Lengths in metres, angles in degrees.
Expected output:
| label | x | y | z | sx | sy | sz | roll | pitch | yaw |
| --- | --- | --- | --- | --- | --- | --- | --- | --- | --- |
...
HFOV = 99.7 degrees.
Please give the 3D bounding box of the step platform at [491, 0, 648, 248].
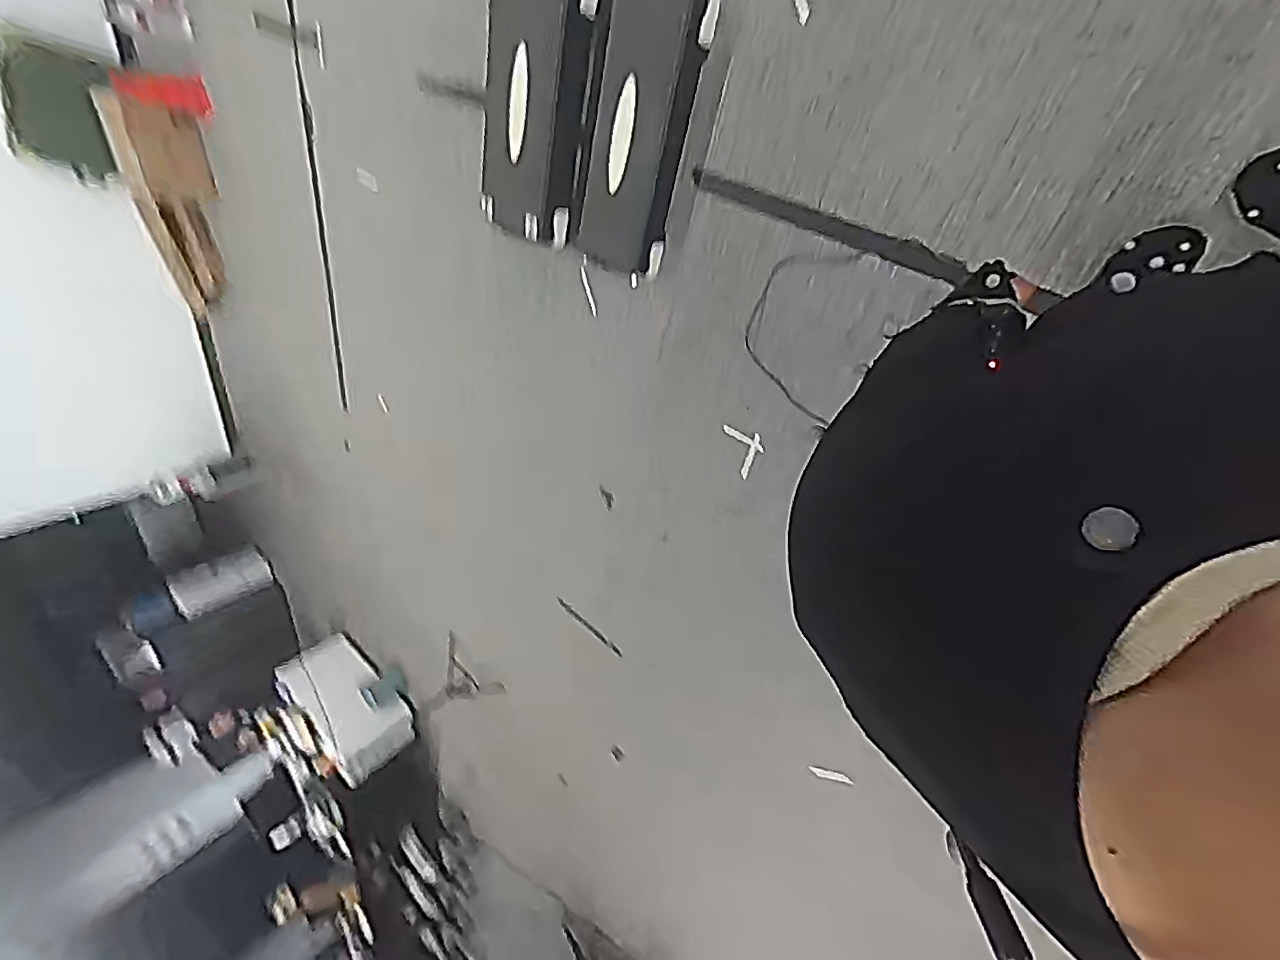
| label | x | y | z | sx | sy | sz | roll | pitch | yaw |
| --- | --- | --- | --- | --- | --- | --- | --- | --- | --- |
| step platform | -0.222 | -1.026 | 1.508 | 0.286 | 0.204 | 0.684 | 38 | 129 | 21 |
